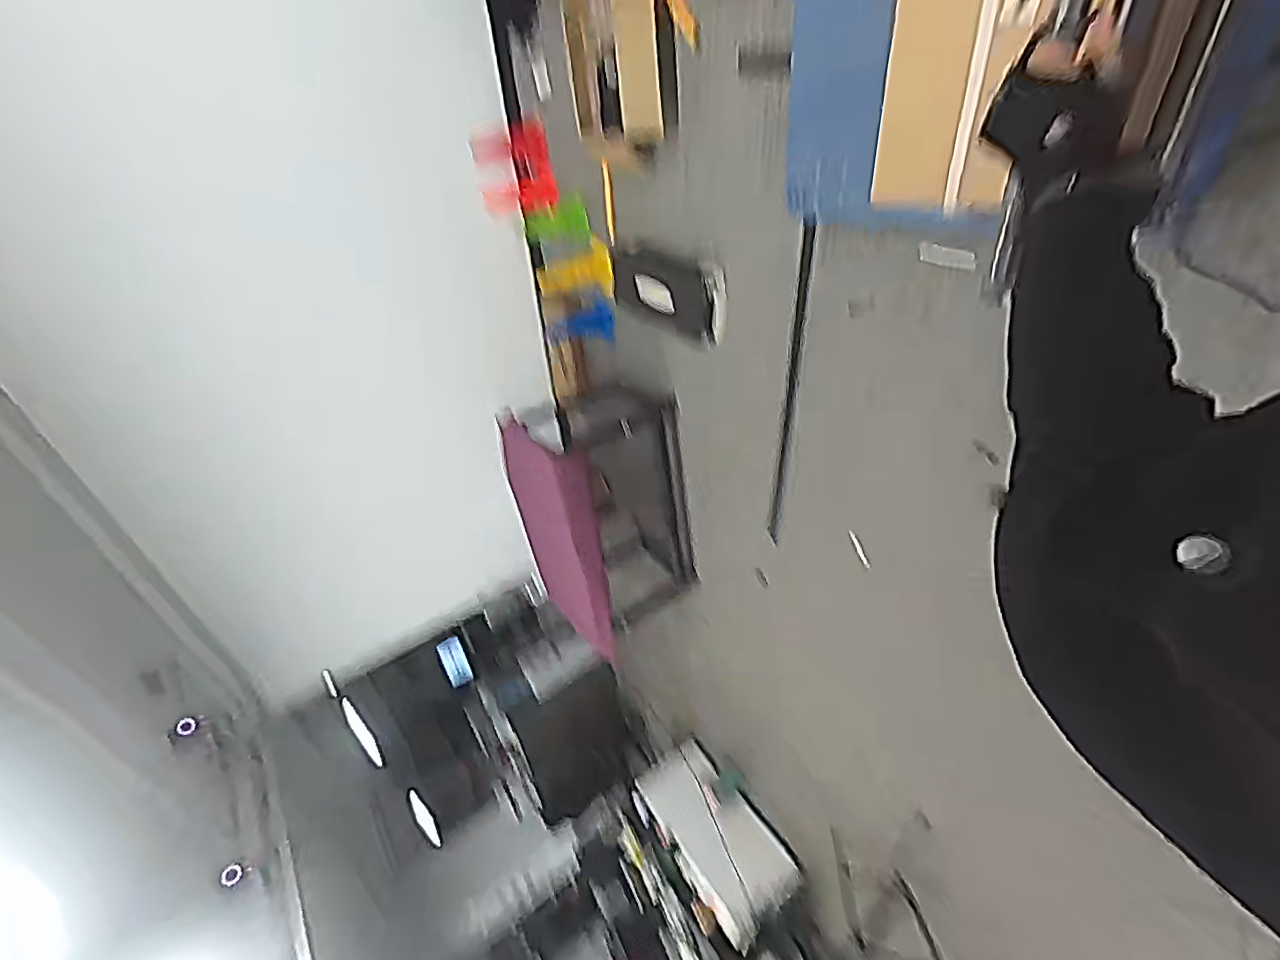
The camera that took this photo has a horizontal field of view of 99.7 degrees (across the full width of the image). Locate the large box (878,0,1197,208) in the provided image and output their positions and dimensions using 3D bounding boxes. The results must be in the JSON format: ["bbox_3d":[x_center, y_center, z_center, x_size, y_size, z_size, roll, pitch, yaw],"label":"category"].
[{"bbox_3d":[0.642,-0.686,0.886,0.320,0.320,0.408,33,139,45],"label":"large box"}]
